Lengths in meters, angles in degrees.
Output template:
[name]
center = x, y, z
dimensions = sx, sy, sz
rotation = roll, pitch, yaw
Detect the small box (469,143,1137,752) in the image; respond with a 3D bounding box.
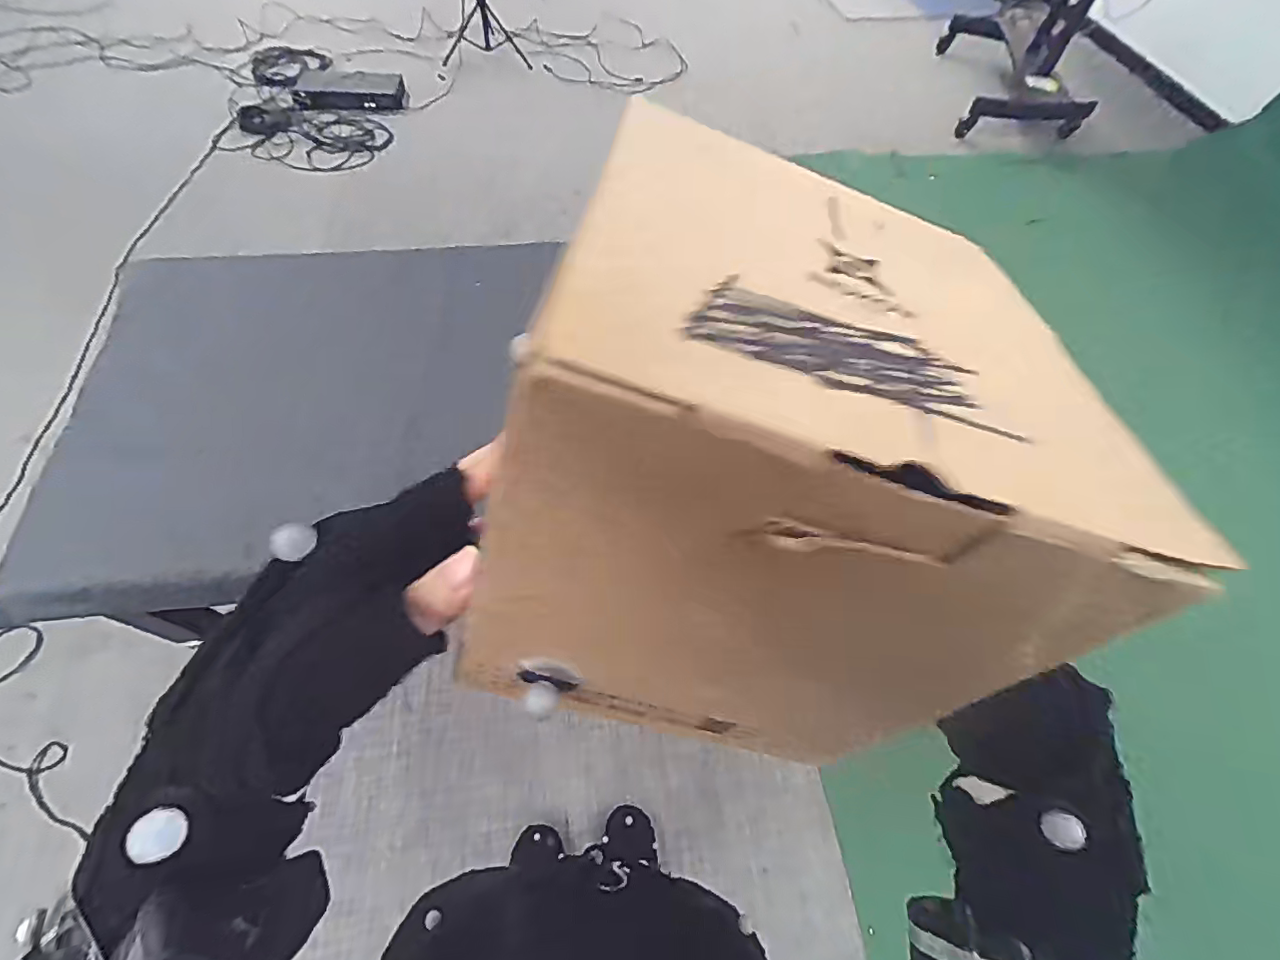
[small box]
center = 0.033, -0.003, 0.237
dimensions = 0.168, 0.176, 0.179
rotation = 18, 46, -10
